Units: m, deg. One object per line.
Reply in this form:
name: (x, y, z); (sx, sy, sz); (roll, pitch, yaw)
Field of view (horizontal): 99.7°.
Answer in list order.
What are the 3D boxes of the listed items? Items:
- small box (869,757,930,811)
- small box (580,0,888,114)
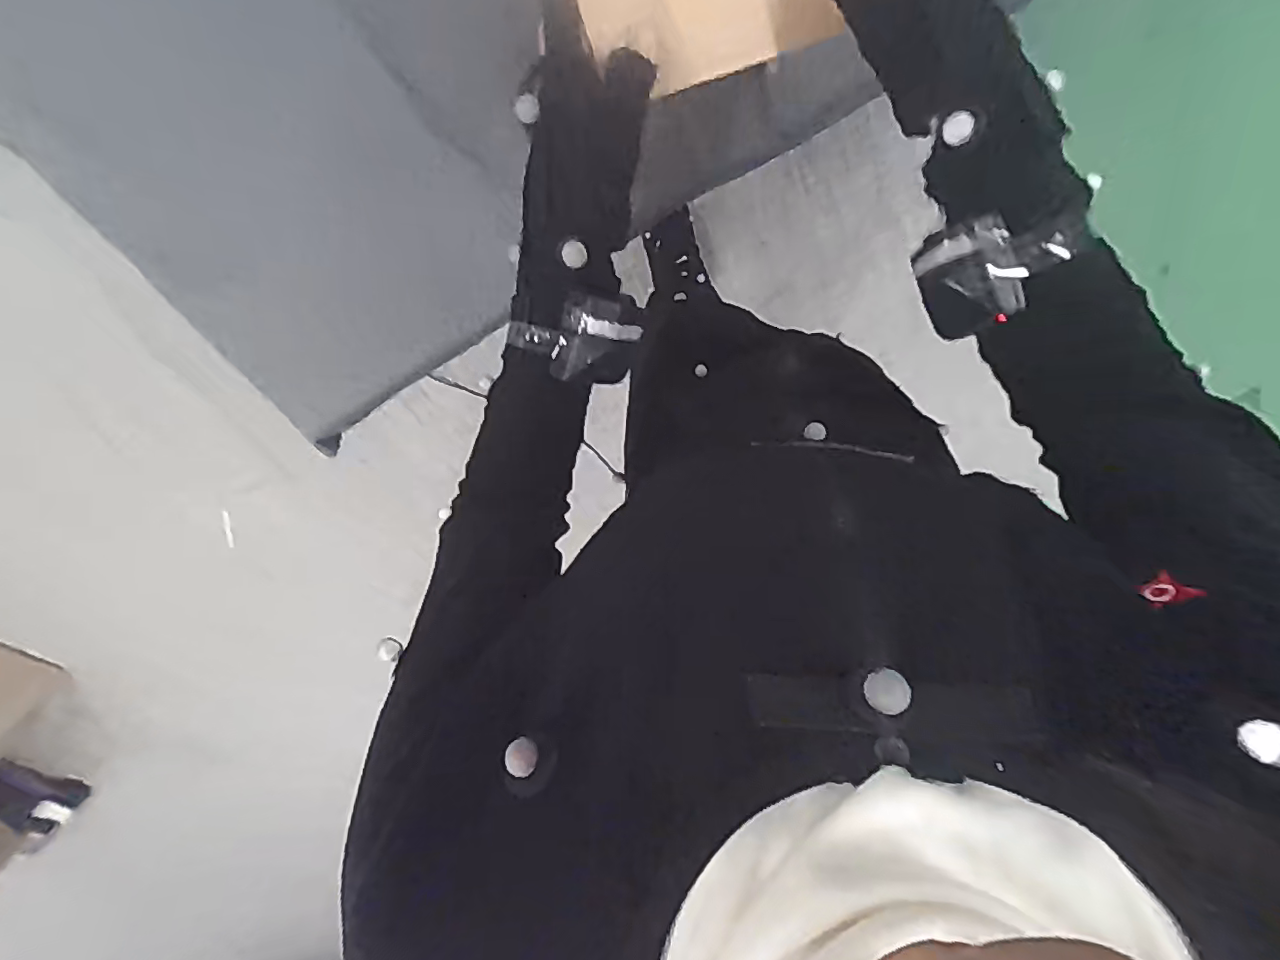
small box: (1.084, 1.303, 2.266); (0.179, 0.176, 0.168); (-27, 118, 13)
small box: (0.039, -0.363, 0.347); (0.179, 0.176, 0.168); (-15, 129, 6)
